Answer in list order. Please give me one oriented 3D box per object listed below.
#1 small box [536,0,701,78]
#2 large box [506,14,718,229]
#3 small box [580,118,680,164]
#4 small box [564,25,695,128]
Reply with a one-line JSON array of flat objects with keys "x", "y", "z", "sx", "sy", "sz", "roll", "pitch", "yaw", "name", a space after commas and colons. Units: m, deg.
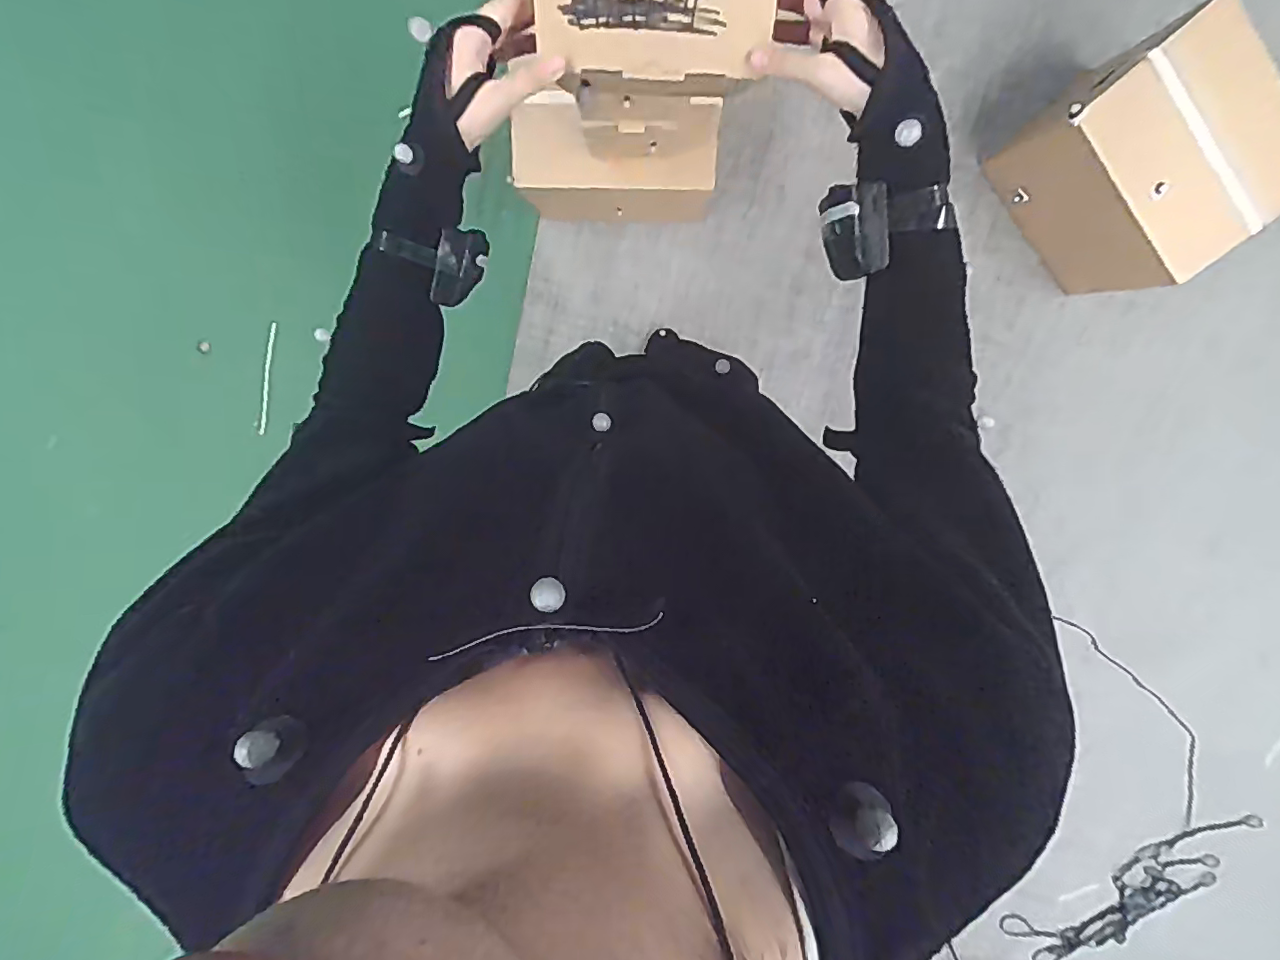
[{"x": -0.021, "y": -0.598, "z": 0.624, "sx": 0.179, "sy": 0.176, "sz": 0.168, "roll": 1, "pitch": 104, "yaw": 0, "name": "small box"}, {"x": -0.044, "y": -0.743, "z": 1.179, "sx": 0.408, "sy": 0.320, "sz": 0.320, "roll": 2, "pitch": 103, "yaw": 3, "name": "large box"}, {"x": -0.011, "y": -0.671, "z": 0.944, "sx": 0.168, "sy": 0.176, "sz": 0.179, "roll": 2, "pitch": 104, "yaw": 1, "name": "small box"}, {"x": -0.013, "y": -0.635, "z": 0.785, "sx": 0.179, "sy": 0.176, "sz": 0.168, "roll": 1, "pitch": 104, "yaw": 2, "name": "small box"}]
